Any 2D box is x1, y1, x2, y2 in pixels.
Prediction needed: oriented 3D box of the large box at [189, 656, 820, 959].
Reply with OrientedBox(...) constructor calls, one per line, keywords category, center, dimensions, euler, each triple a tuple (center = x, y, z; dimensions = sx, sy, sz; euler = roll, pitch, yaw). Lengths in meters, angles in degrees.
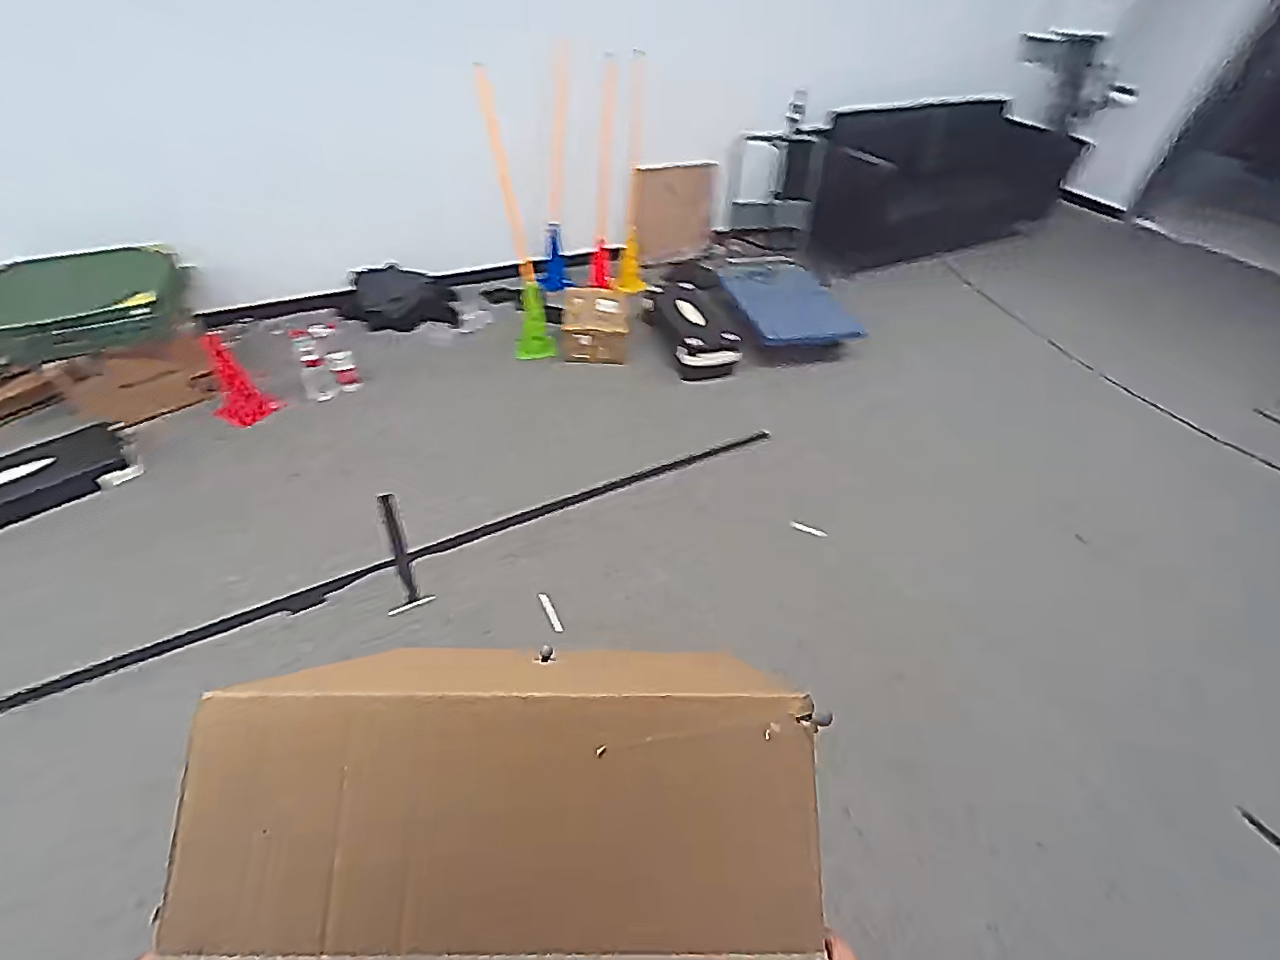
OrientedBox(category="large box", center=(-0.087, 0.332, 0.484), dimensions=(0.408, 0.320, 0.320), euler=(1, 79, -1))
